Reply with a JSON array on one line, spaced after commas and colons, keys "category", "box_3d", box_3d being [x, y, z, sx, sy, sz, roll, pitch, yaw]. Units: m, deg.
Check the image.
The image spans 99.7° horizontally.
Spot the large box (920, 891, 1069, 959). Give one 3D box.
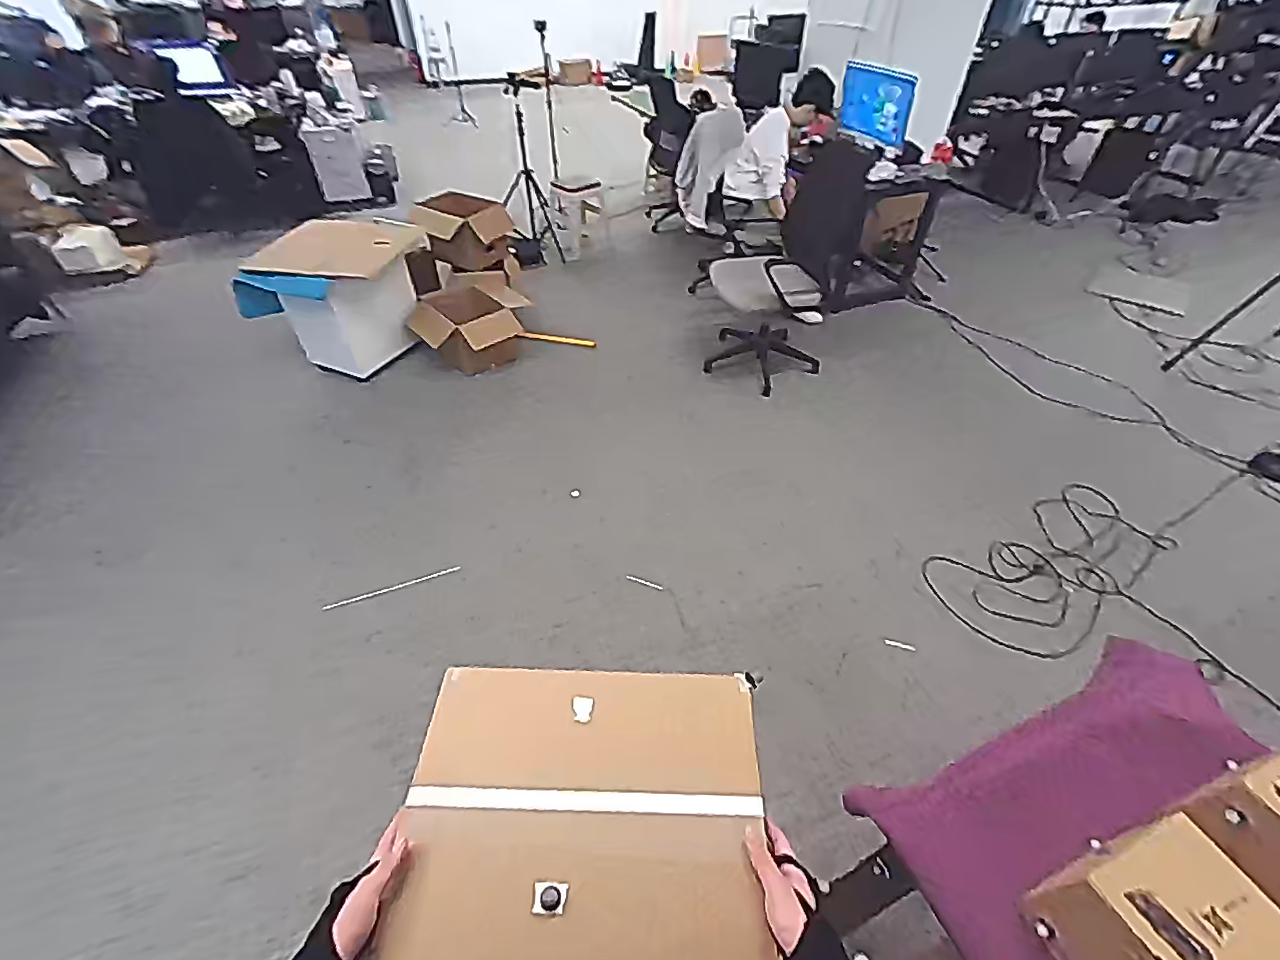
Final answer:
[{"category": "large box", "box_3d": [0.709, 1.072, 1.028, 0.408, 0.320, 0.320, -15, 46, -16]}]

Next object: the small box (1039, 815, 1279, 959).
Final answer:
[{"category": "small box", "box_3d": [0.617, 0.535, 0.630, 0.179, 0.176, 0.168, -15, 46, -17]}]
